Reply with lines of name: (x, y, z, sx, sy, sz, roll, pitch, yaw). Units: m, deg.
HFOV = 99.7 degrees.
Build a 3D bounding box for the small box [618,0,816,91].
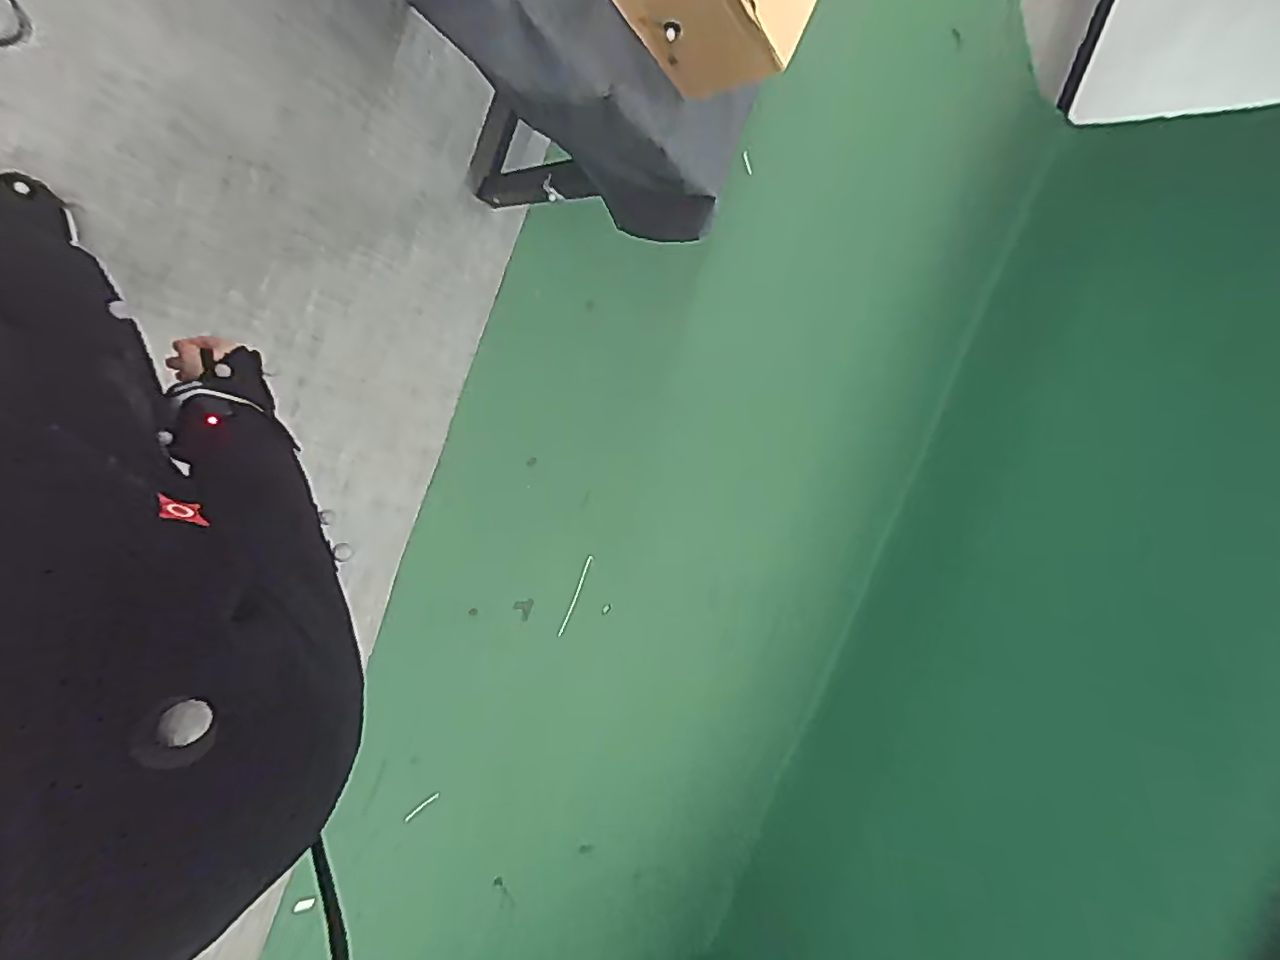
small box: (0.101, -0.611, 0.638, 0.168, 0.176, 0.179, 23, 92, -46)
